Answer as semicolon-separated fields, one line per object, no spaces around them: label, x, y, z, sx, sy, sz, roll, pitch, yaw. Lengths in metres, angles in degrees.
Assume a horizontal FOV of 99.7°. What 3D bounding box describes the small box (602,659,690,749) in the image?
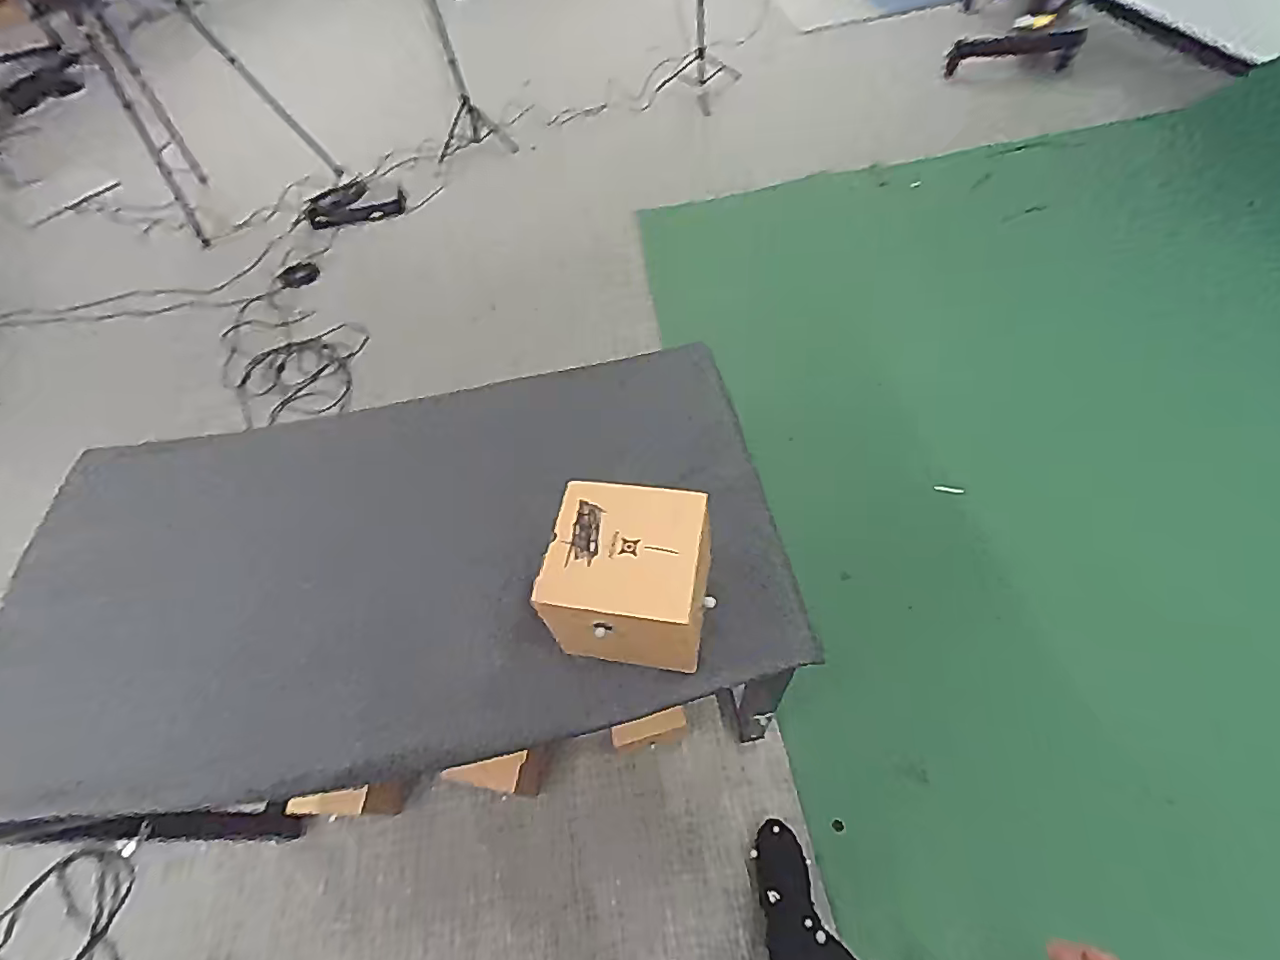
small box;0.017;0.525;1.286;0.168;0.176;0.179;-16;57;-3

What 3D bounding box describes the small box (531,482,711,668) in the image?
small box;-0.009;0.121;0.673;0.179;0.176;0.168;5;56;12

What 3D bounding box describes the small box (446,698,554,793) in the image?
small box;-0.316;0.626;1.269;0.179;0.176;0.168;4;57;12

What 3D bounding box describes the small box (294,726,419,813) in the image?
small box;-0.658;0.686;1.277;0.179;0.176;0.168;-2;57;8
